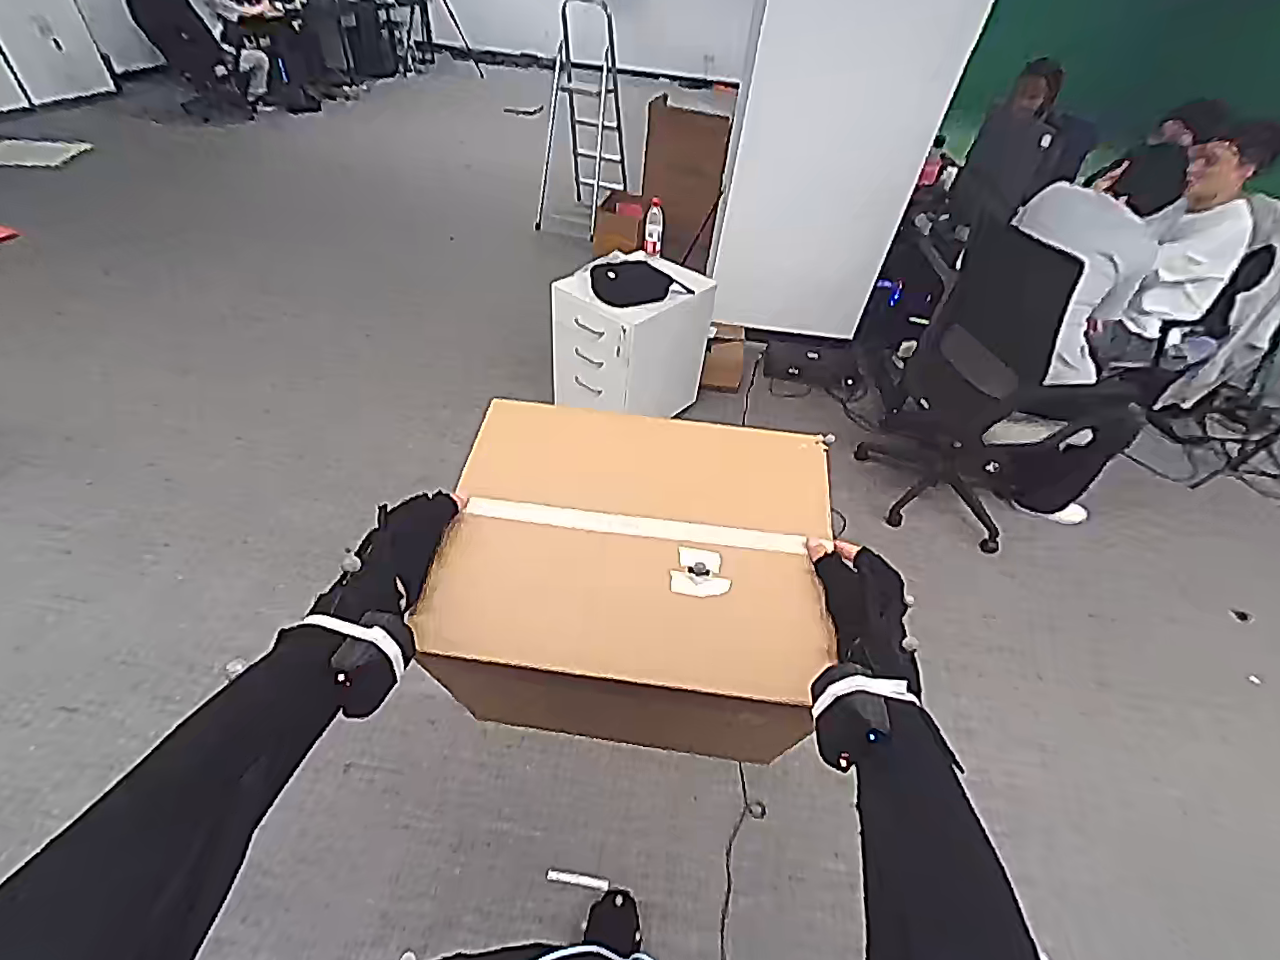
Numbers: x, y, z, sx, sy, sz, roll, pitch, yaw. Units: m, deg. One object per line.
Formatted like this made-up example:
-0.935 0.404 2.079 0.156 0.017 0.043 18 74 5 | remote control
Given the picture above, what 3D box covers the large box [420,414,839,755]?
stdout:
-0.004 0.146 0.708 0.408 0.320 0.320 7 55 2 | large box
